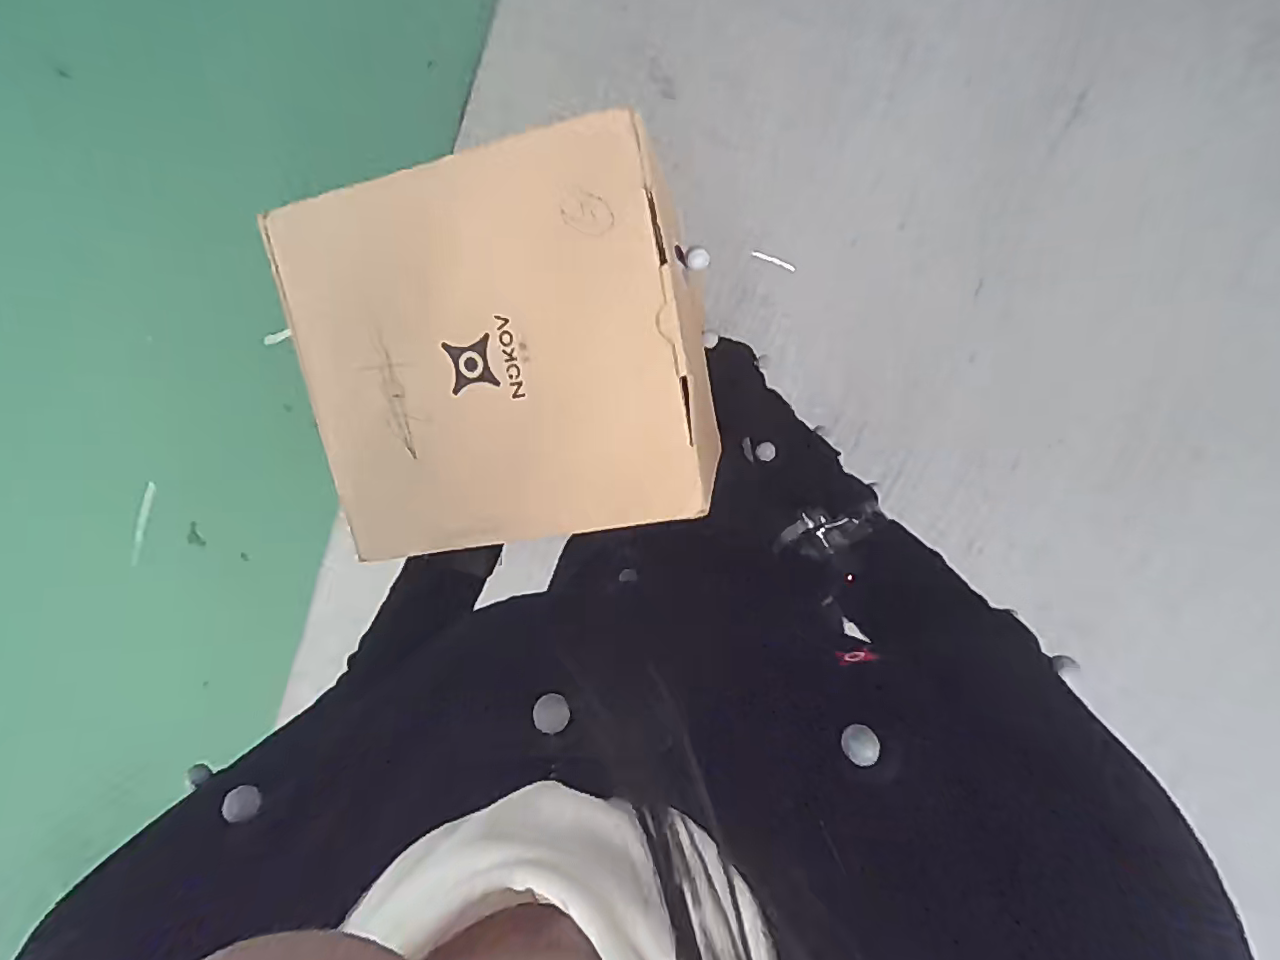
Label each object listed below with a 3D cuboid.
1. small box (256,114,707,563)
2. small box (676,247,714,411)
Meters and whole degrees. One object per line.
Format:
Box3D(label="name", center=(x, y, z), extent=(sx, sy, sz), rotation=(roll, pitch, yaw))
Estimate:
Box3D(label="small box", center=(-0.060, -0.067, 0.316), extent=(0.179, 0.176, 0.168), rotation=(-10, 99, 14))
Box3D(label="small box", center=(-0.012, -0.153, 0.627), extent=(0.179, 0.176, 0.168), rotation=(-9, 100, 14))
